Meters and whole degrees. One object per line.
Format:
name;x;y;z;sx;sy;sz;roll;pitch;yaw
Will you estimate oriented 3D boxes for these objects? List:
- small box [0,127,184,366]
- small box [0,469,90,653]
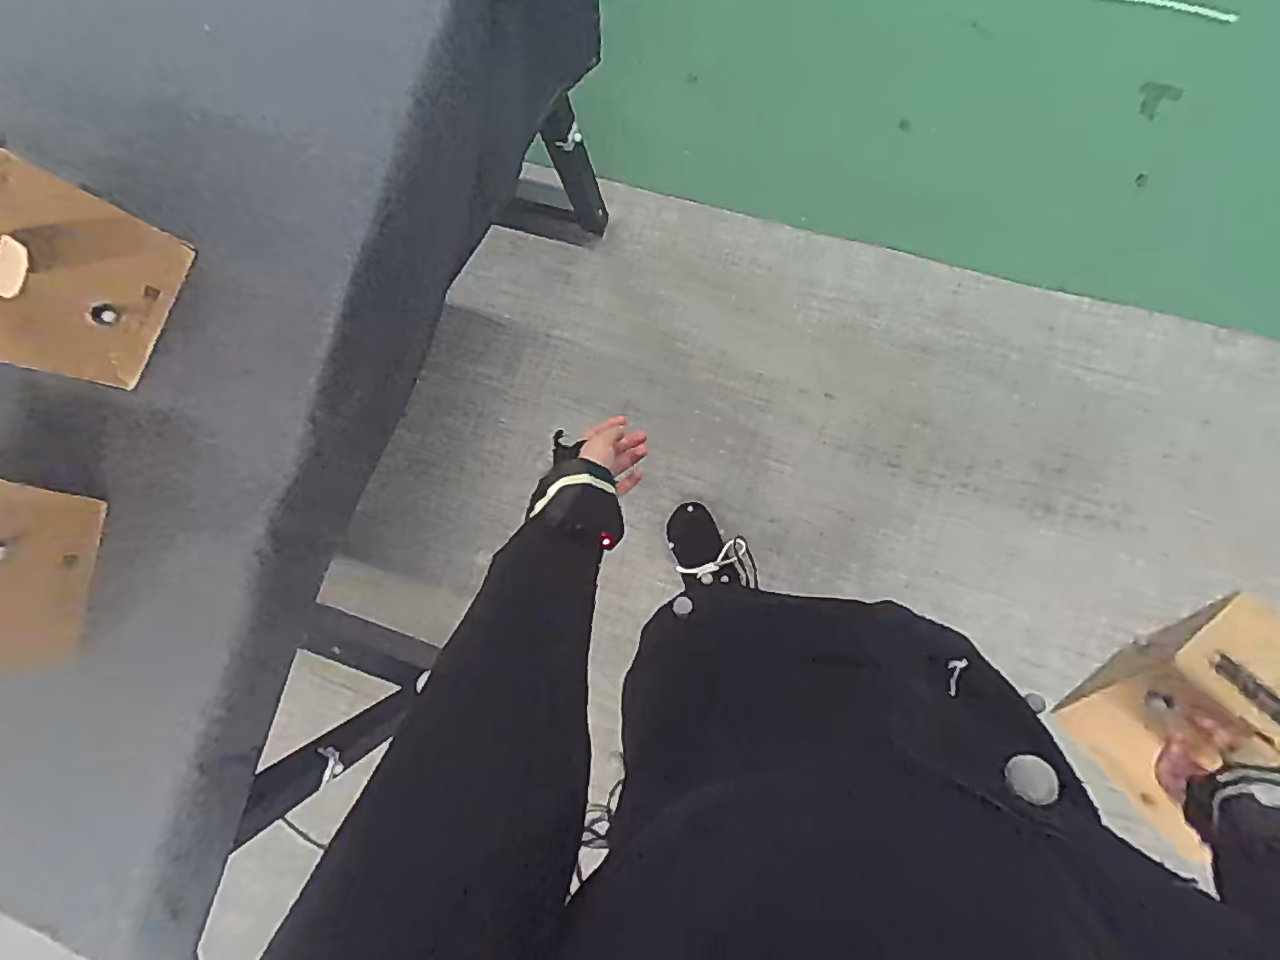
small box;-0.587;-0.223;0.491;0.179;0.176;0.168;24;89;7
small box;-0.662;0.067;0.481;0.179;0.176;0.168;10;86;9
